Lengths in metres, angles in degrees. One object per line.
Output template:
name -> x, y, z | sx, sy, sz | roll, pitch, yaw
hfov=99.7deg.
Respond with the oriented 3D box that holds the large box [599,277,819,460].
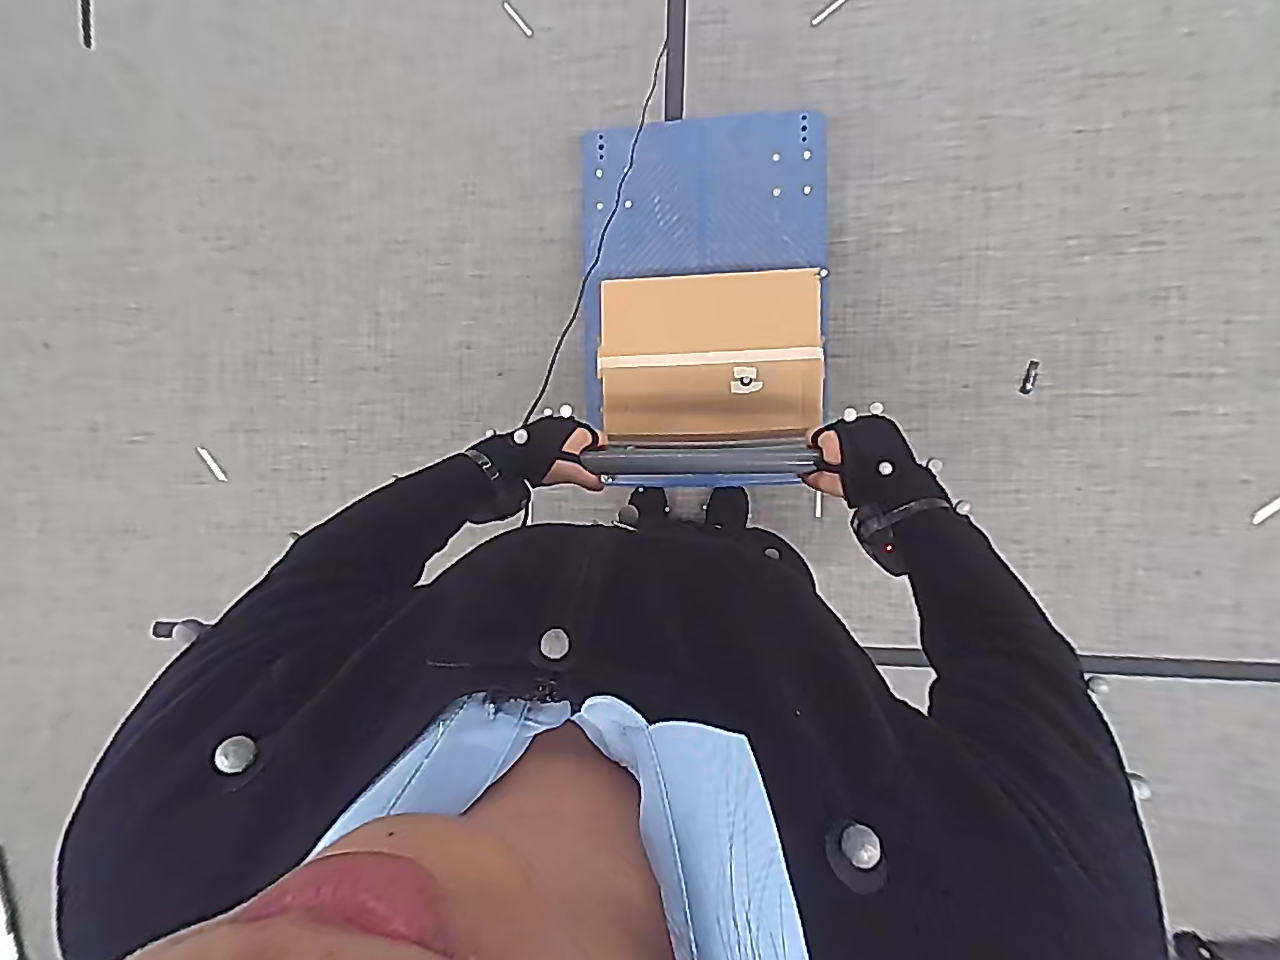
large box -> 0.138, -0.209, 1.147 | 0.408, 0.320, 0.320 | -1, 91, 6
